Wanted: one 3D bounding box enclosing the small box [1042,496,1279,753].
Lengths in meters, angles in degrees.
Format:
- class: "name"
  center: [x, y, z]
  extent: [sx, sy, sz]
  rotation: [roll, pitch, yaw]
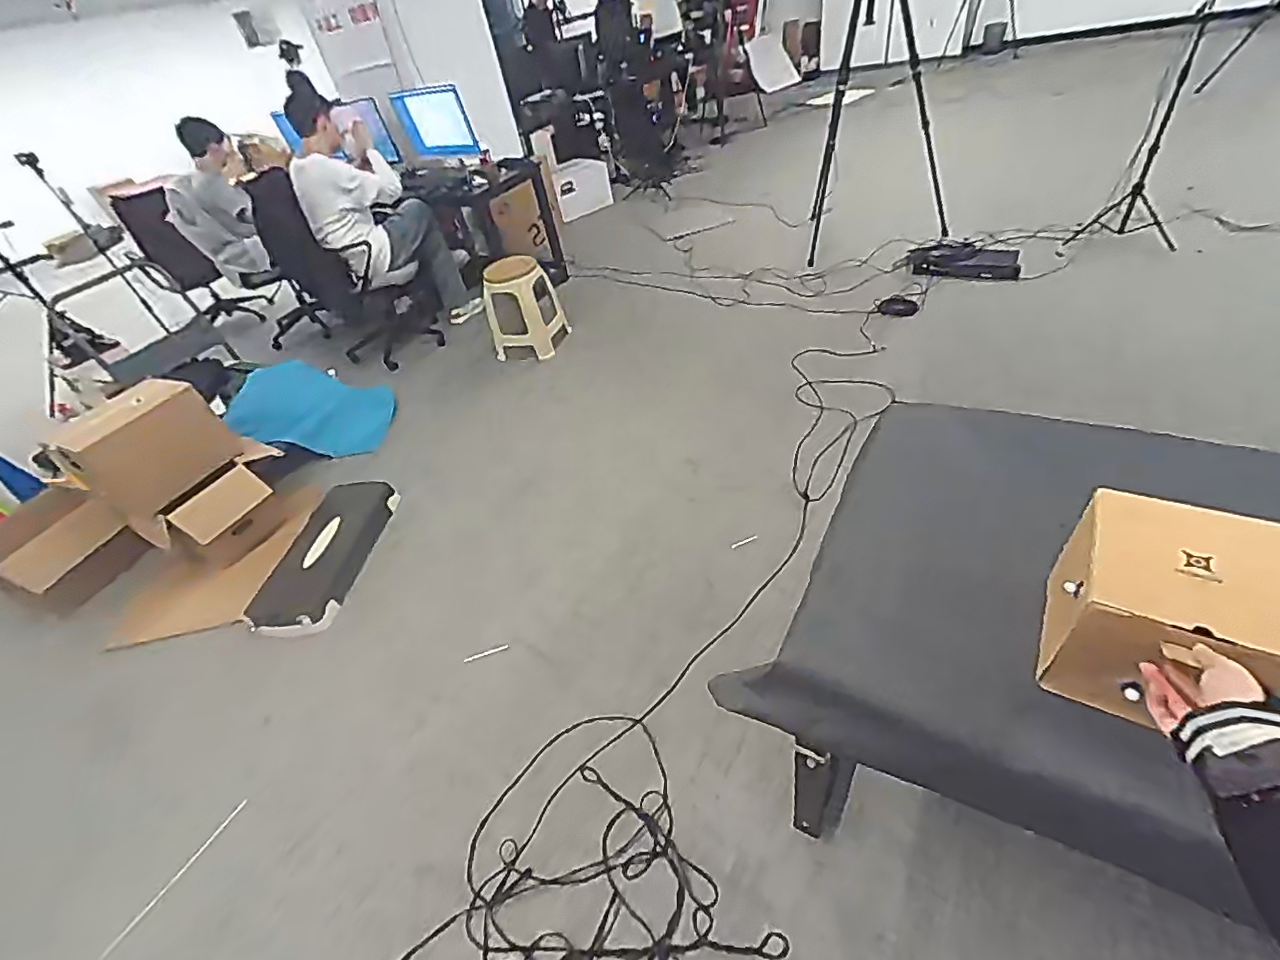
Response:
- class: "small box"
  center: [0.564, 0.151, 0.586]
  extent: [0.168, 0.176, 0.179]
  rotation: [17, 49, 29]
